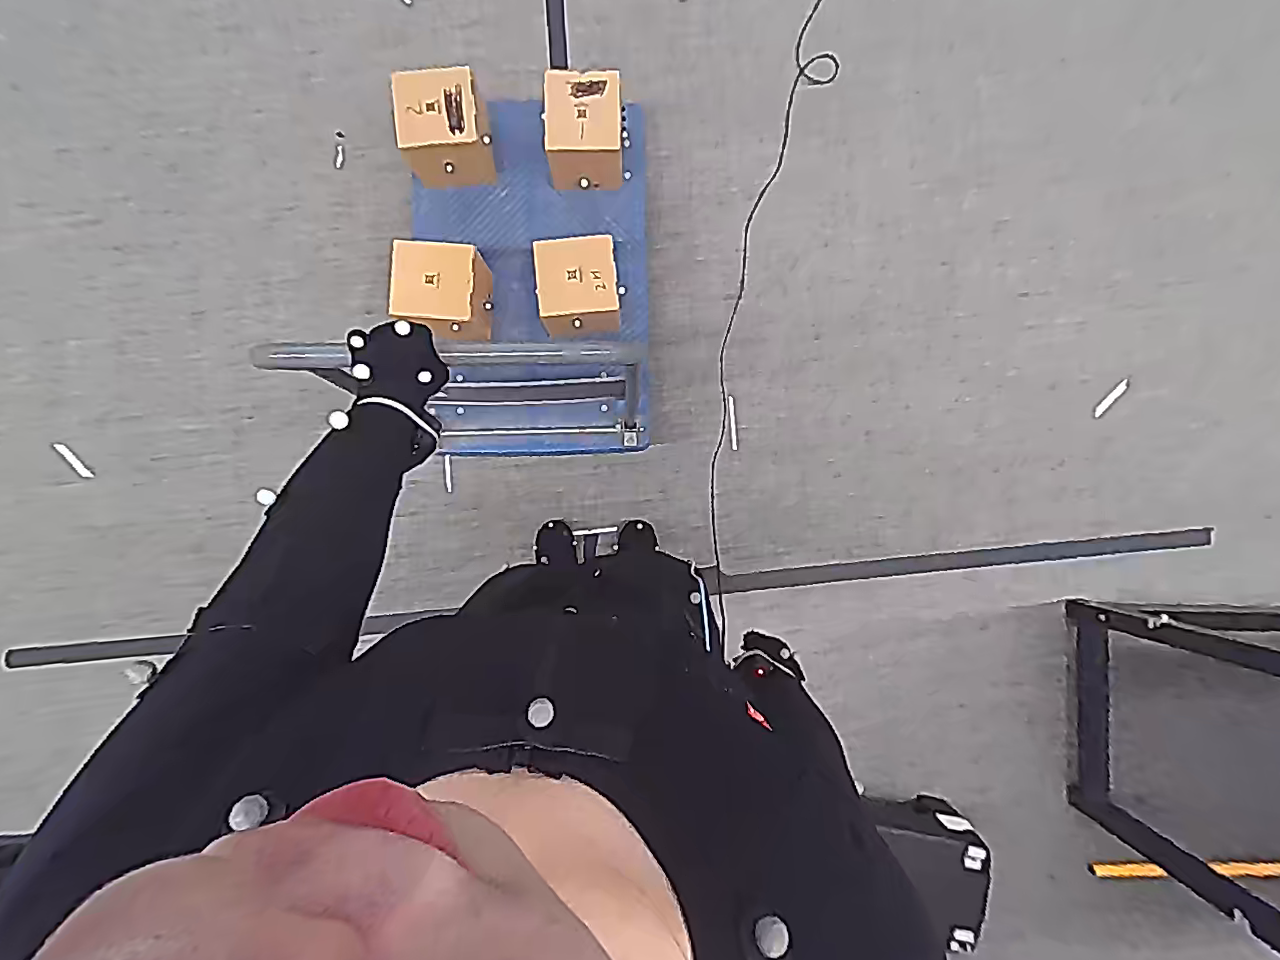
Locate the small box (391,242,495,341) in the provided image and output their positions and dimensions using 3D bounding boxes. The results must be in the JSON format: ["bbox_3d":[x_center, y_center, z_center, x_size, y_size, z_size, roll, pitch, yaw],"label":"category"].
[{"bbox_3d":[-0.445,-0.425,1.241,0.179,0.176,0.168,3,89,-2],"label":"small box"}]

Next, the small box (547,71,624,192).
[{"bbox_3d":[-0.122,-0.798,1.251,0.168,0.176,0.179,0,90,-1],"label":"small box"}]

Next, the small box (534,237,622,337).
[{"bbox_3d":[-0.136,-0.437,1.246,0.179,0.176,0.168,-5,90,-1],"label":"small box"}]
